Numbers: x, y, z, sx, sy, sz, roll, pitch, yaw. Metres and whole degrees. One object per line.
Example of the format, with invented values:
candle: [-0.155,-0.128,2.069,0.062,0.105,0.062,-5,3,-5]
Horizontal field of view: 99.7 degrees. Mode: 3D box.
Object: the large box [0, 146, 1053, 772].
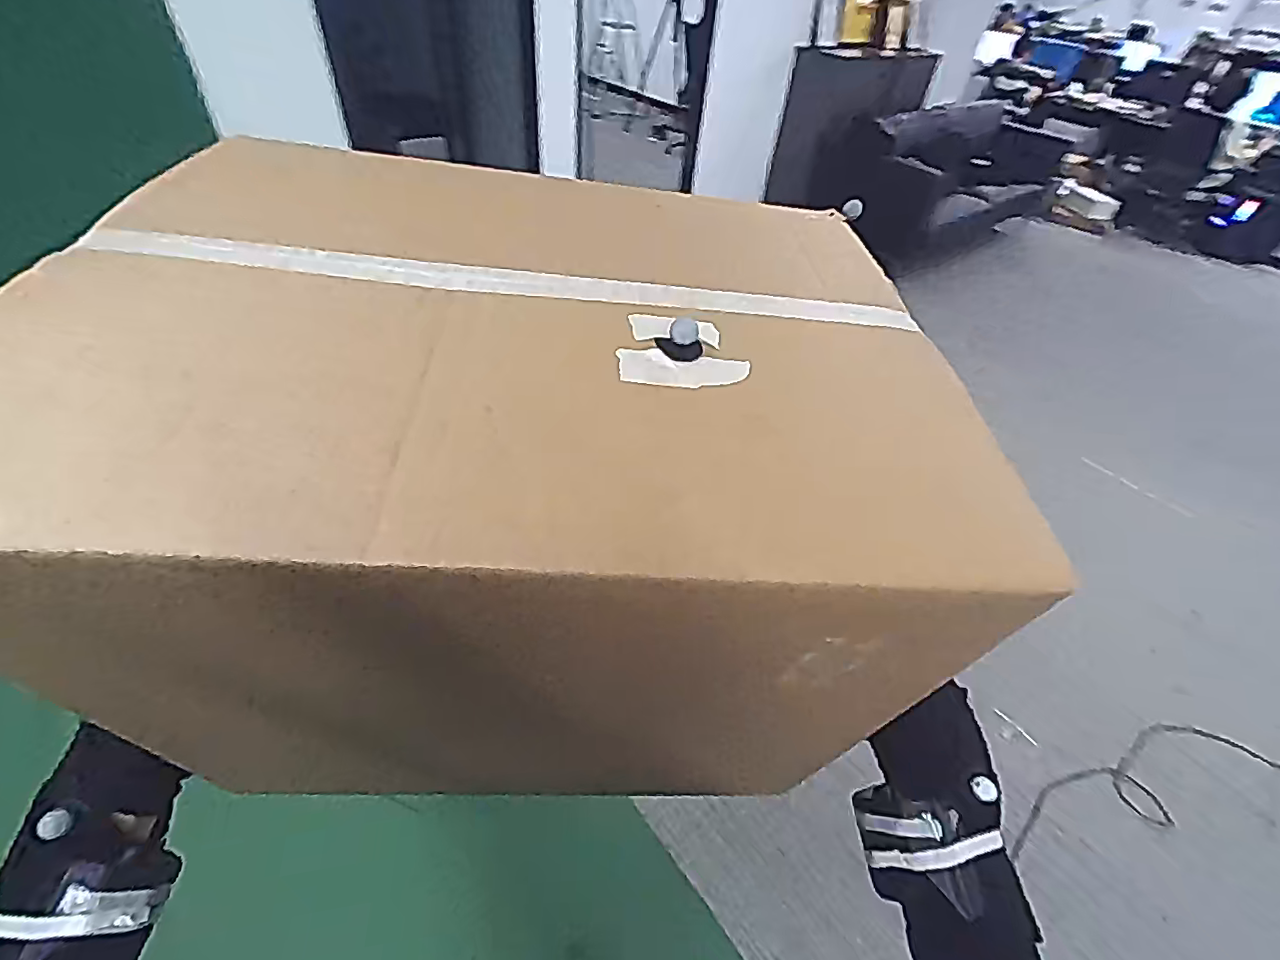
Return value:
large box: [-0.058,0.006,0.393,0.408,0.320,0.320,5,49,-7]
